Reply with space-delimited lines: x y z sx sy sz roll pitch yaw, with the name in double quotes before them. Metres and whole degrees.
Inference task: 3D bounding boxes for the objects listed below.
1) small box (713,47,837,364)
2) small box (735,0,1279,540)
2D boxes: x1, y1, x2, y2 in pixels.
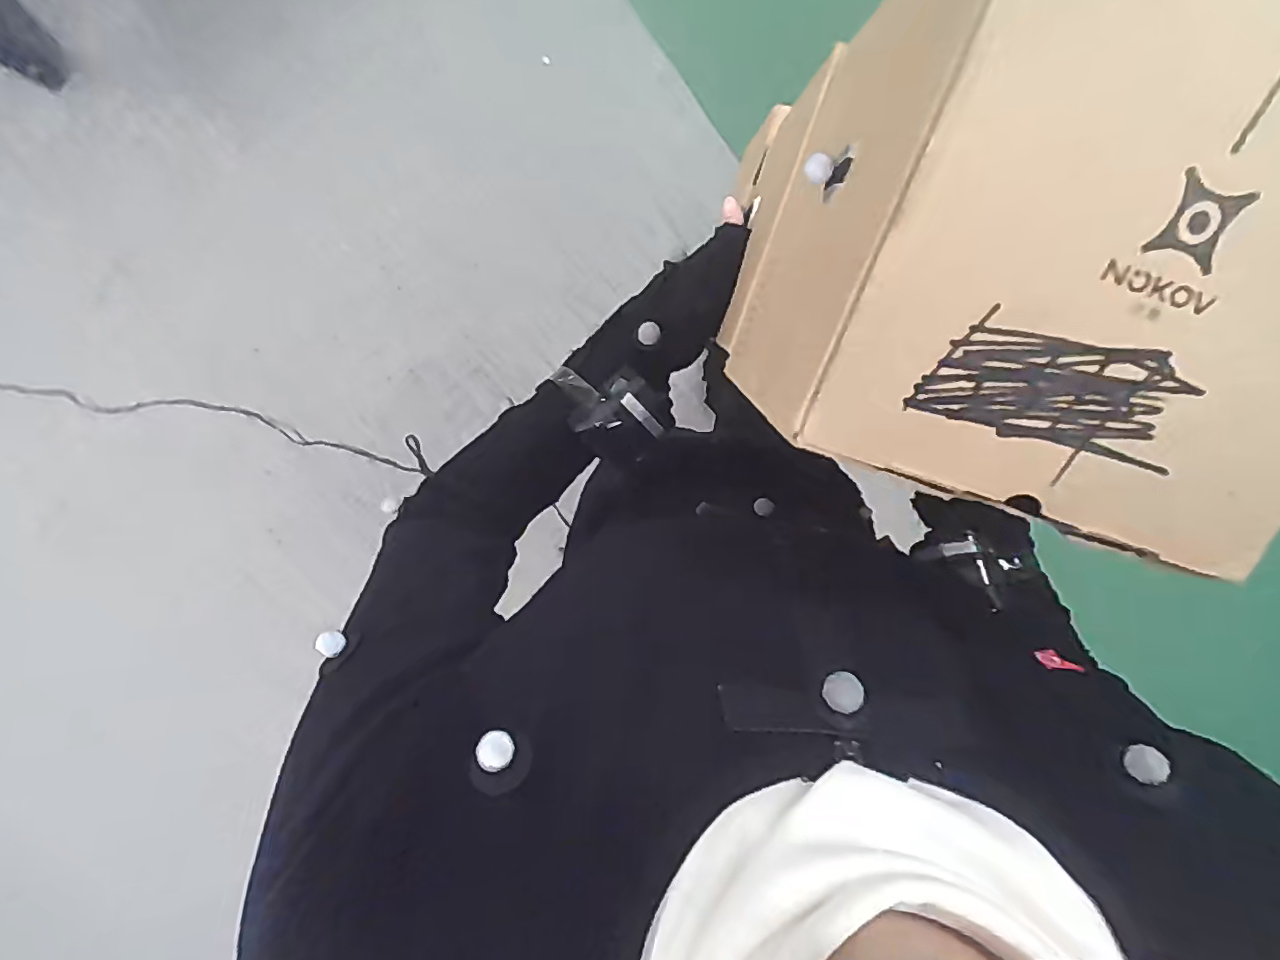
"small box" 0.161 -0.154 0.377 0.179 0.176 0.168 12 109 -3
"small box" 0.151 -0.104 0.238 0.168 0.176 0.179 17 107 -5
